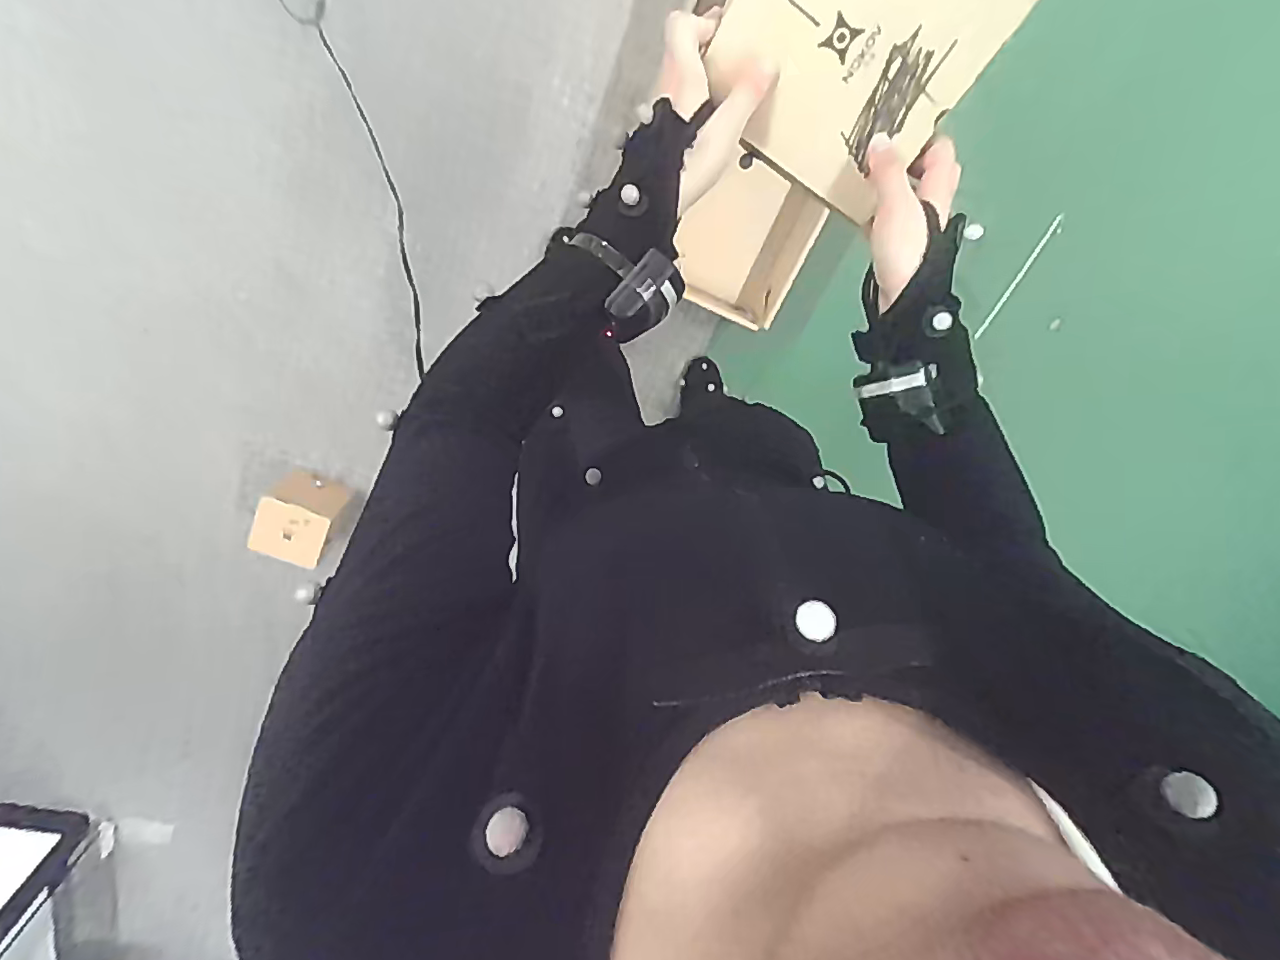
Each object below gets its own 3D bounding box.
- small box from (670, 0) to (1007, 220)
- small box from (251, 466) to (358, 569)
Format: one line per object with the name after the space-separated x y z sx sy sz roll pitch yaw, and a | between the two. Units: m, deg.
0.140 -0.354 0.448 0.179 0.176 0.168 28 123 -16 | small box
-0.870 0.096 1.416 0.168 0.176 0.179 25 112 -16 | small box
